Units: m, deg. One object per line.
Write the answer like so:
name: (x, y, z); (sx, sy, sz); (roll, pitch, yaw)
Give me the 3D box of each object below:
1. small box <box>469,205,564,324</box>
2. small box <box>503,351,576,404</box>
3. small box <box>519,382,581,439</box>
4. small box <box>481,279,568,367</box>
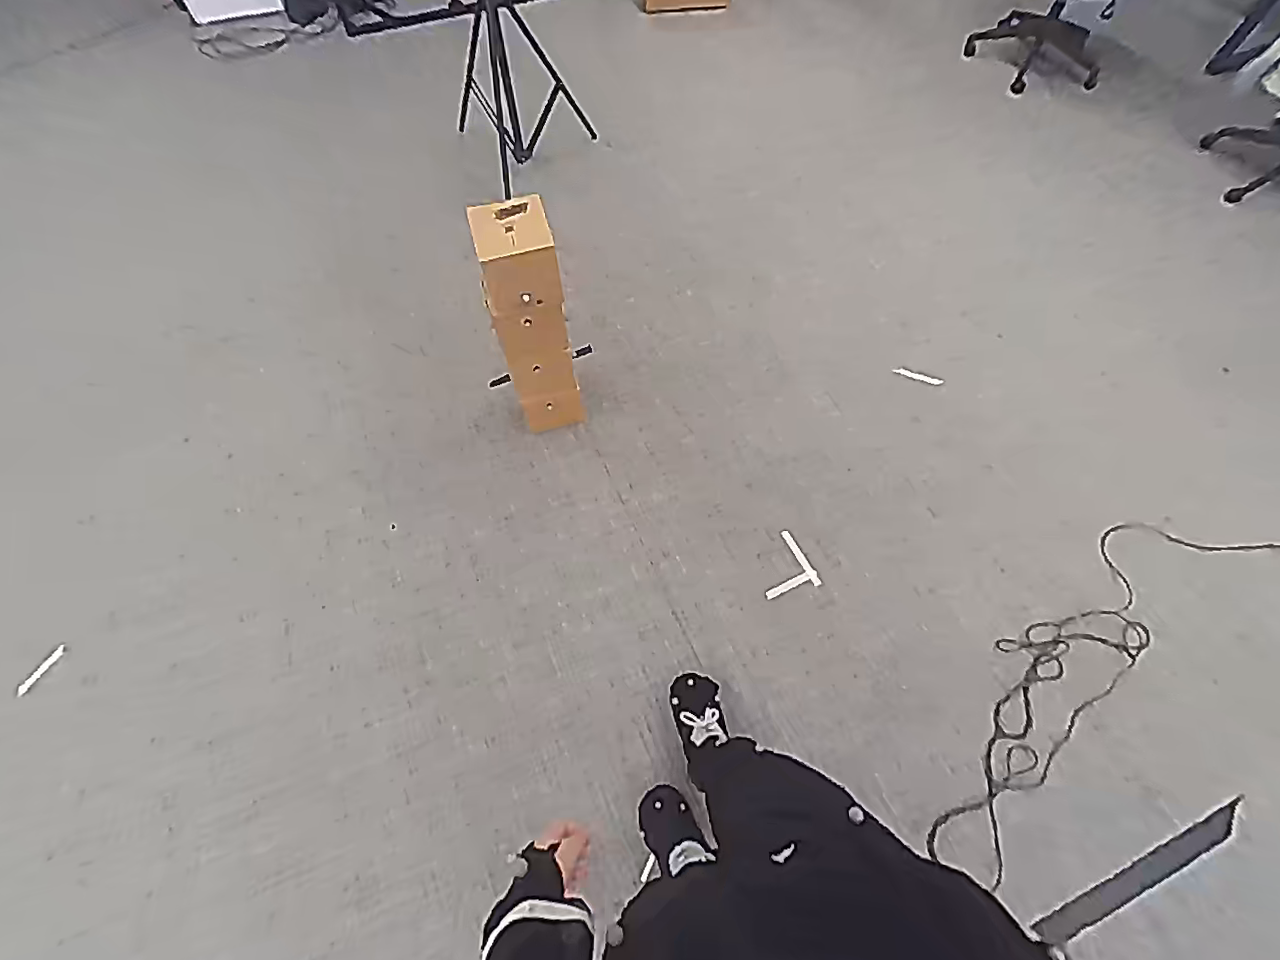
small box: (-0.281, -0.492, 1.247); (0.168, 0.176, 0.179); (-15, 65, -6)
small box: (-0.289, -0.334, 1.533); (0.179, 0.176, 0.168); (-12, 64, -6)
small box: (-0.284, -0.251, 1.675); (0.179, 0.176, 0.168); (-15, 63, -7)
small box: (-0.293, -0.415, 1.393); (0.179, 0.176, 0.168); (-15, 64, -8)
